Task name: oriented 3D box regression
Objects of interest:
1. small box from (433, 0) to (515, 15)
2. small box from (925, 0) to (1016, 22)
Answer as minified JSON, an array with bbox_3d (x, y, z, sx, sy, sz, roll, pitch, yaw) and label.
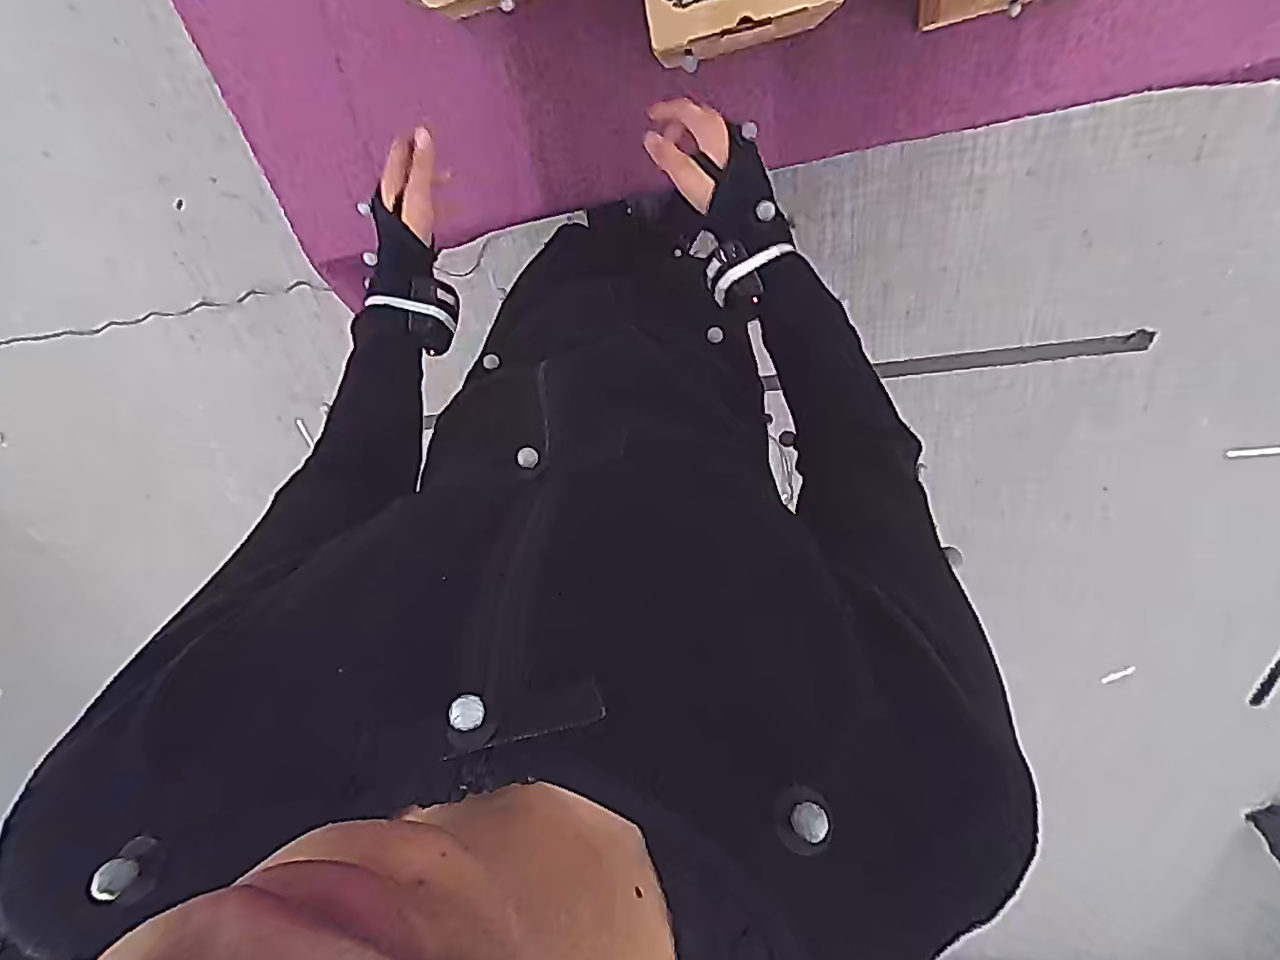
[{"bbox_3d":[-0.156,-0.557,0.482,0.168,0.176,0.179,-6,123,11],"label":"small box"},{"bbox_3d":[0.351,-0.521,0.446,0.168,0.176,0.179,-8,122,12],"label":"small box"}]
